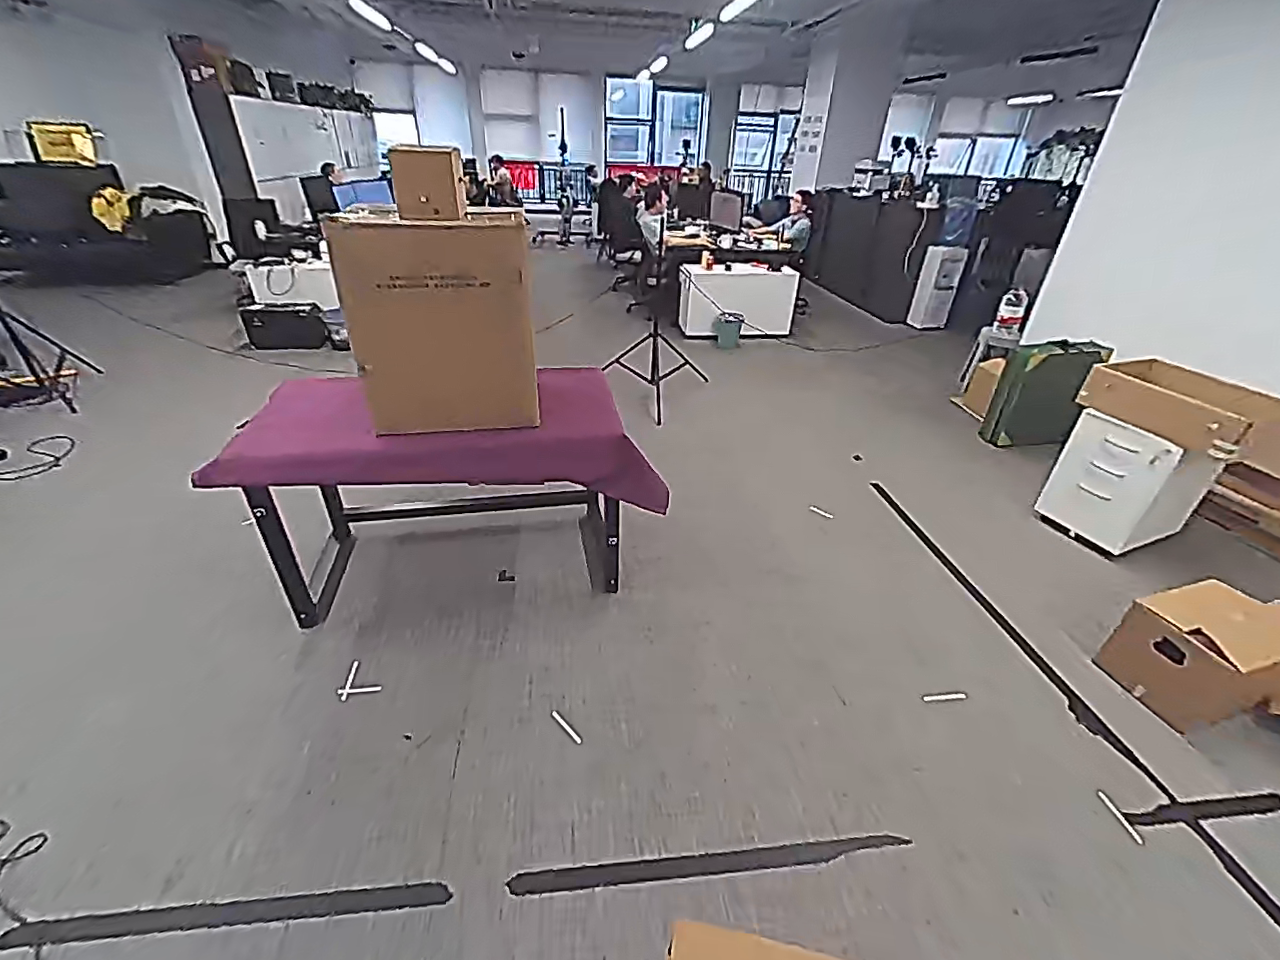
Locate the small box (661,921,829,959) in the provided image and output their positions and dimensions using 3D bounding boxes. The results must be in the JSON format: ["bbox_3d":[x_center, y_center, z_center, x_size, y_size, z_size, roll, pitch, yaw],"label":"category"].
[{"bbox_3d":[0.089,0.500,0.418,0.179,0.176,0.168,8,-12,10],"label":"small box"}]

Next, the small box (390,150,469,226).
[{"bbox_3d":[-0.585,-0.824,1.524,0.168,0.176,0.179,-3,35,-8],"label":"small box"}]
